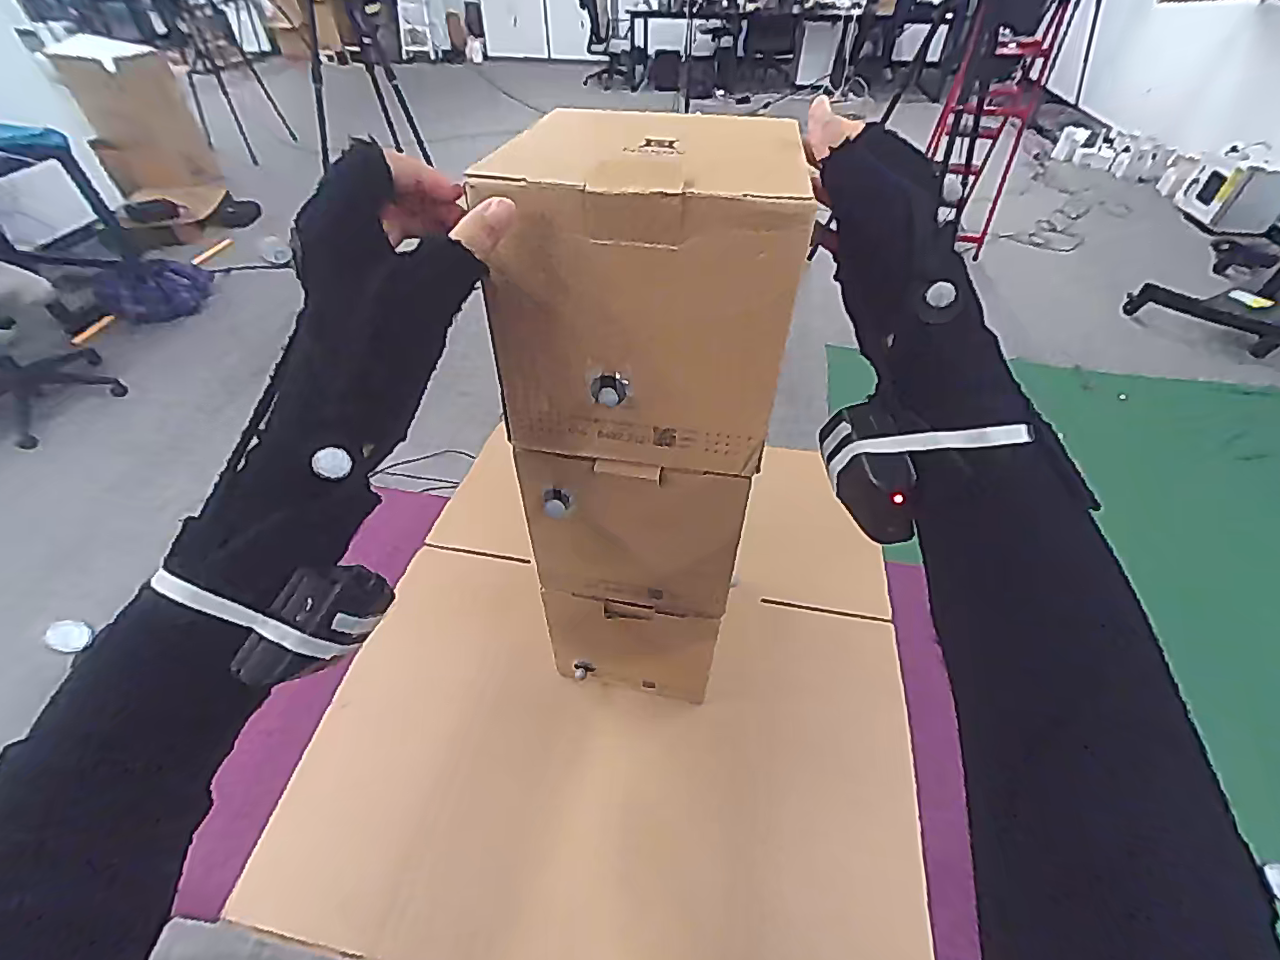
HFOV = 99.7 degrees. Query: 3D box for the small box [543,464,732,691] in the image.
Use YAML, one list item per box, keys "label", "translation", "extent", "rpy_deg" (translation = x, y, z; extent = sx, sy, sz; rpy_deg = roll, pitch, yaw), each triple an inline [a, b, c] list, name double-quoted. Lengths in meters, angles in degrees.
- label: "small box"
  translation: [0.006, 0.108, 0.588]
  extent: [0.168, 0.176, 0.179]
  rpy_deg: [7, 46, 6]
